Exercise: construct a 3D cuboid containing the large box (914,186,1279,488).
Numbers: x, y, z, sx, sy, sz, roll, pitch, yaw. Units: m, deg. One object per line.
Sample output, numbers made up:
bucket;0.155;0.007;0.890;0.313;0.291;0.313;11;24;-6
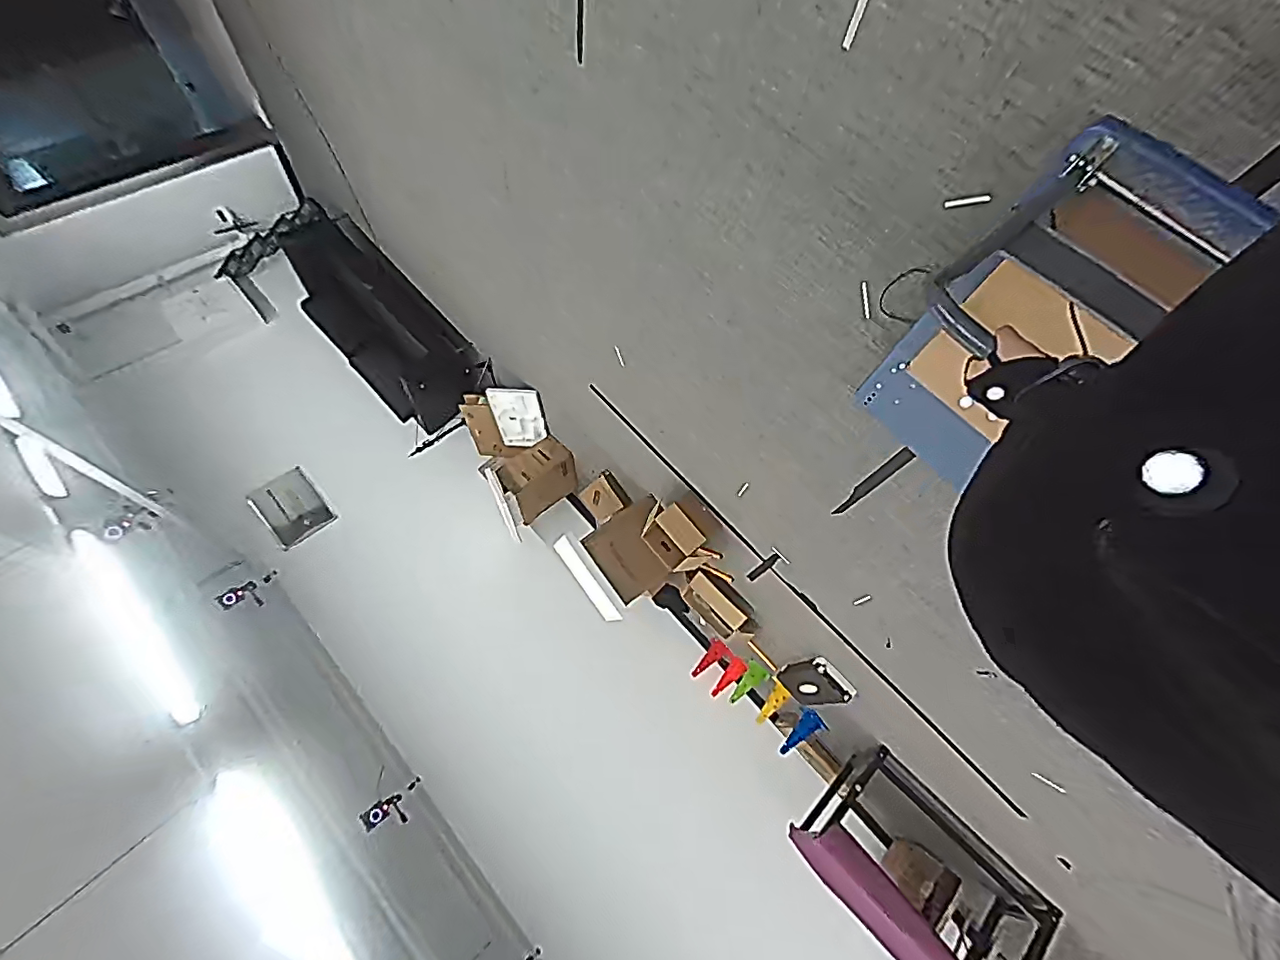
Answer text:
large box;0.848;-0.266;1.034;0.408;0.320;0.320;47;156;14
